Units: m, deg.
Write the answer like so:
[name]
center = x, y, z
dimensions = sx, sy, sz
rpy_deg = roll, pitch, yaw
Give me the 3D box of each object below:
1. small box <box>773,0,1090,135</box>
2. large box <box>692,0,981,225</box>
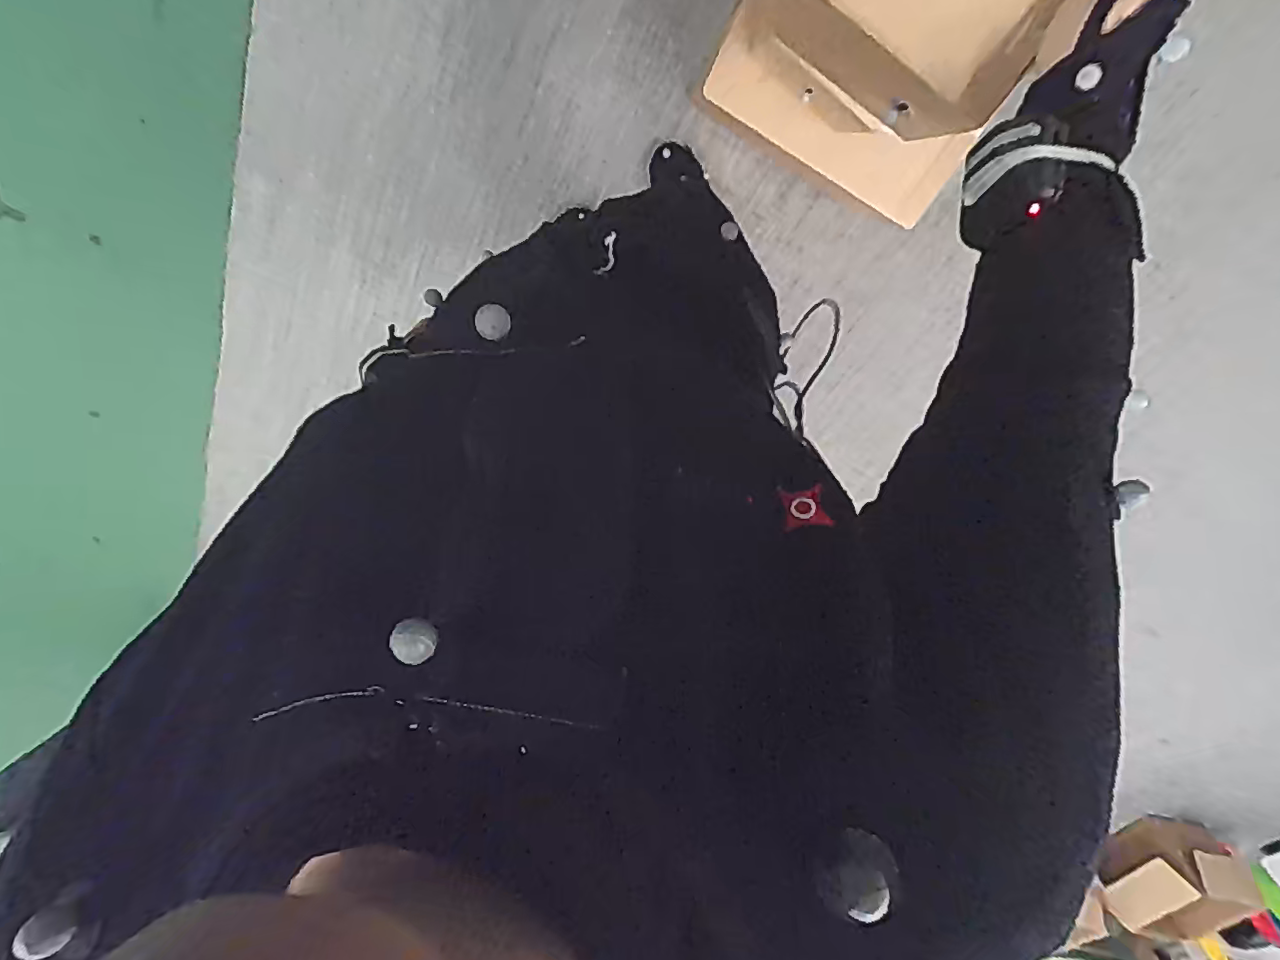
[small box]
center = 0.221, -0.386, 0.401
dimensions = 0.179, 0.176, 0.168
rpy_deg = 30, 118, -9
[large box]
center = 0.340, -0.685, 0.891
dimensions = 0.408, 0.320, 0.320
rpy_deg = 23, 121, -15
